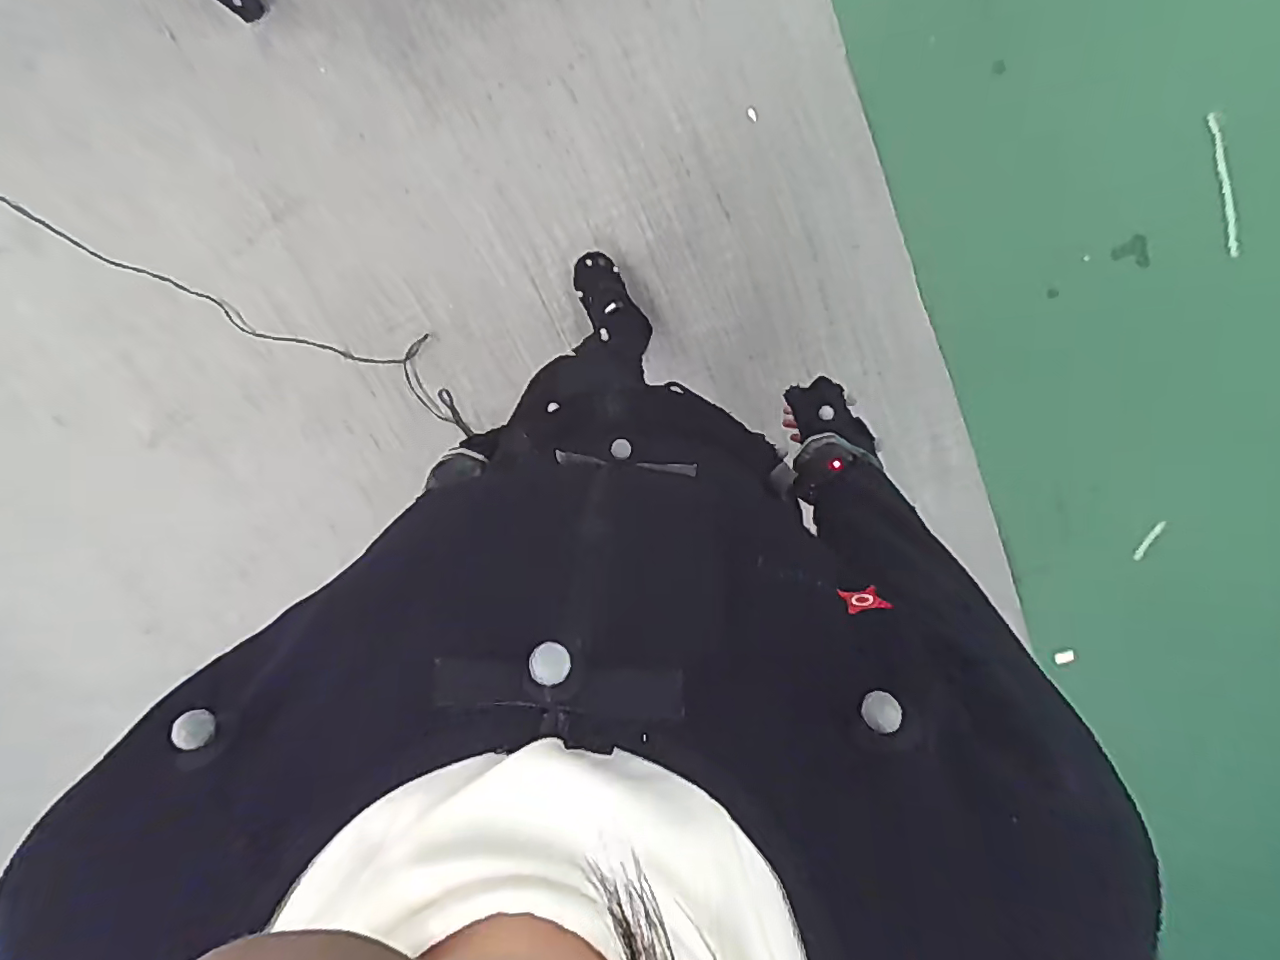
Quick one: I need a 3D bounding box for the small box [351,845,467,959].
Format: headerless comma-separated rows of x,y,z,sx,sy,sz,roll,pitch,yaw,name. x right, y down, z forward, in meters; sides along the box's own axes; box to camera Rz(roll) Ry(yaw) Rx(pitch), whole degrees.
-0.470,0.900,1.124,0.168,0.176,0.179,2,102,2,small box
